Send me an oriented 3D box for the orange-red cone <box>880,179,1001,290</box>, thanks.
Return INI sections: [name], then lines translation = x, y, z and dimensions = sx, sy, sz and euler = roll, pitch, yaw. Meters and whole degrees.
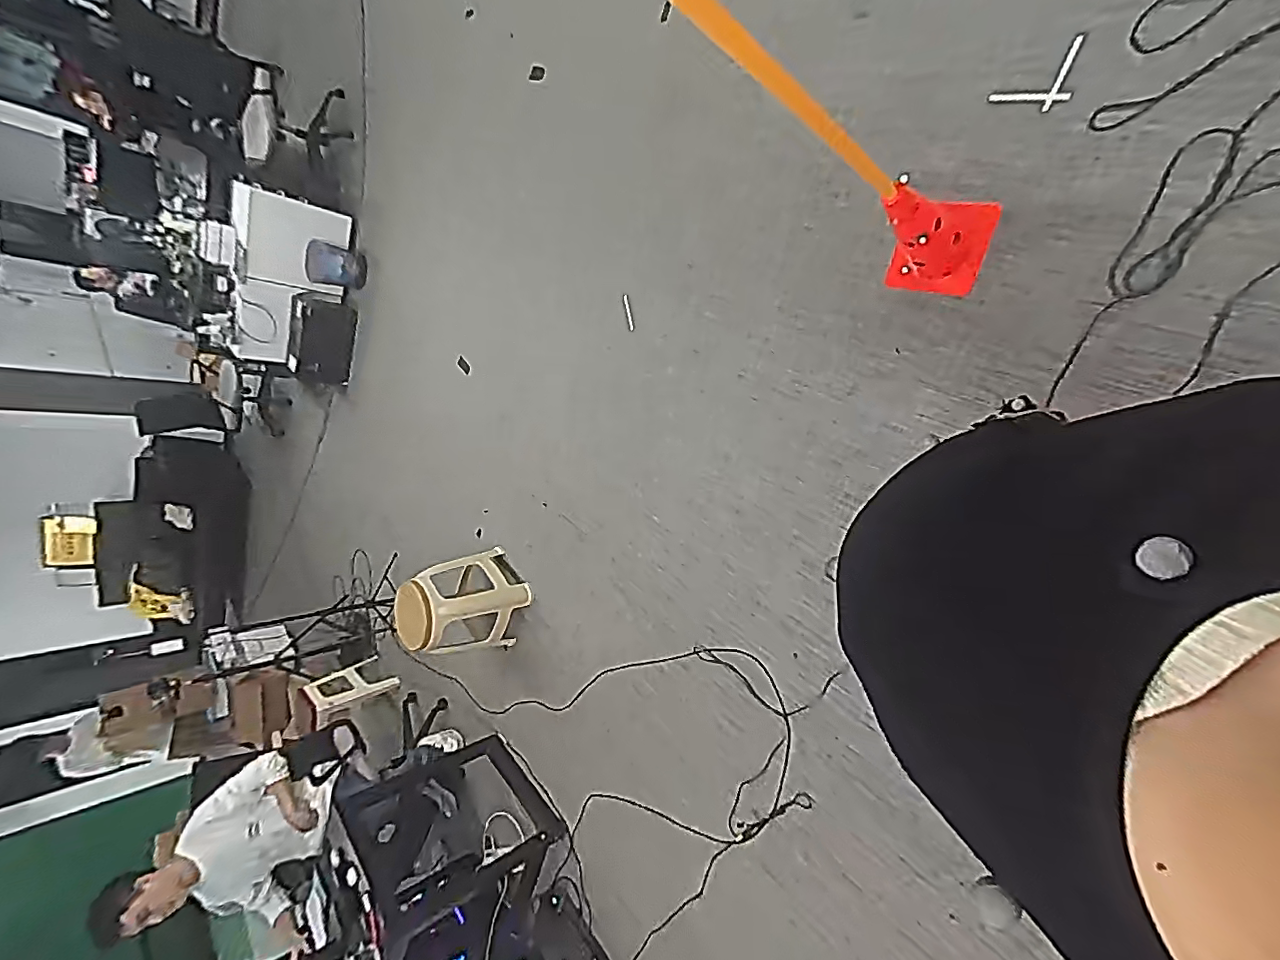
[orange-red cone]
translation = 0.579, -0.542, 1.120
dimensions = 0.199, 0.360, 0.198
euler = 27, 110, 38
